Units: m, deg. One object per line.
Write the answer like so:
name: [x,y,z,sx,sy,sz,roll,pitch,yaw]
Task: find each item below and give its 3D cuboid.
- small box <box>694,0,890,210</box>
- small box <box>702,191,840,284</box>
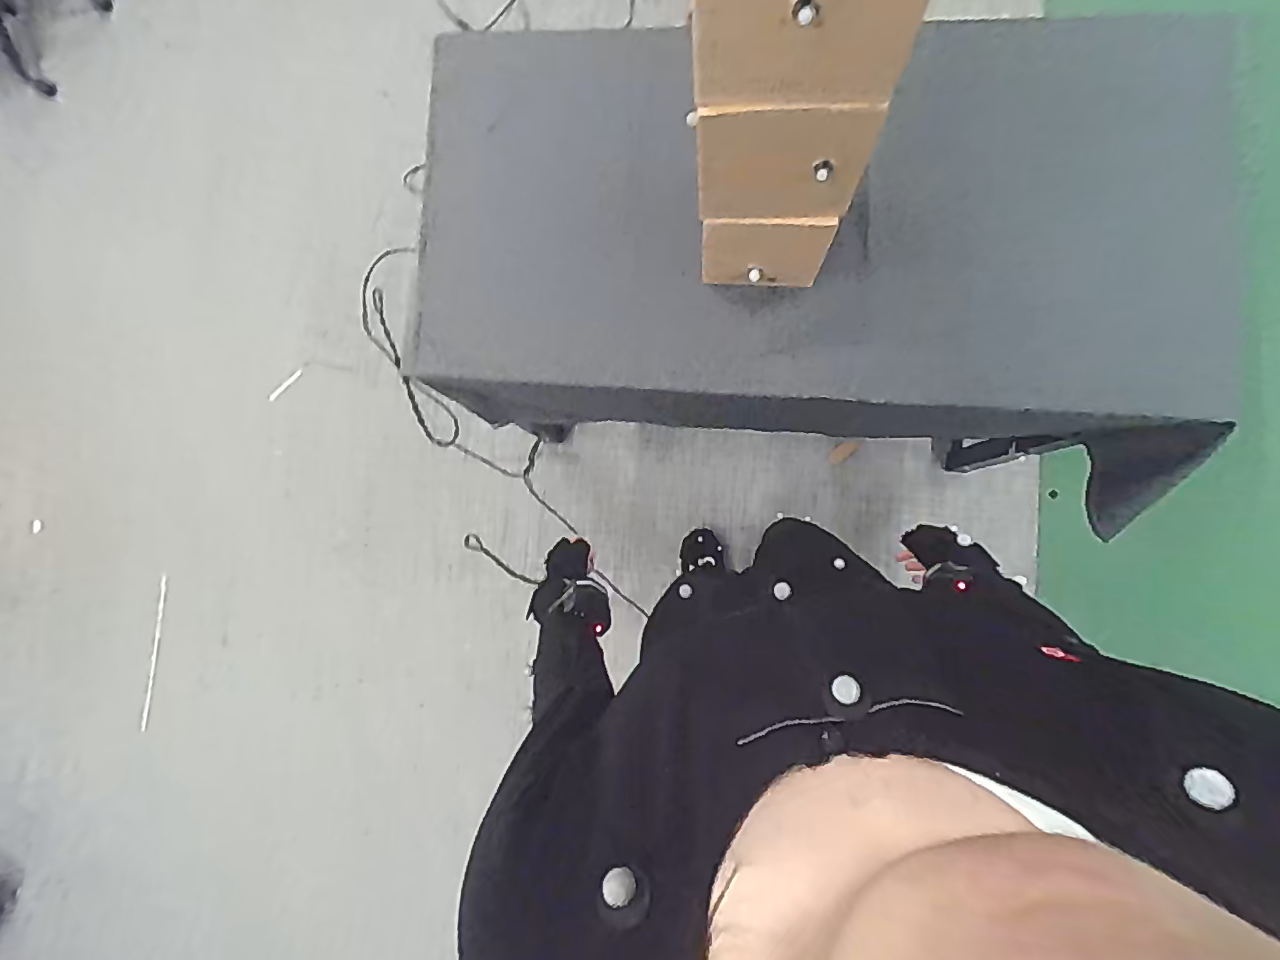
small box: [0.151,-0.415,0.582,0.179,0.176,0.168,3,83,7]
small box: [0.174,-0.394,0.742,0.168,0.176,0.179,5,85,8]
